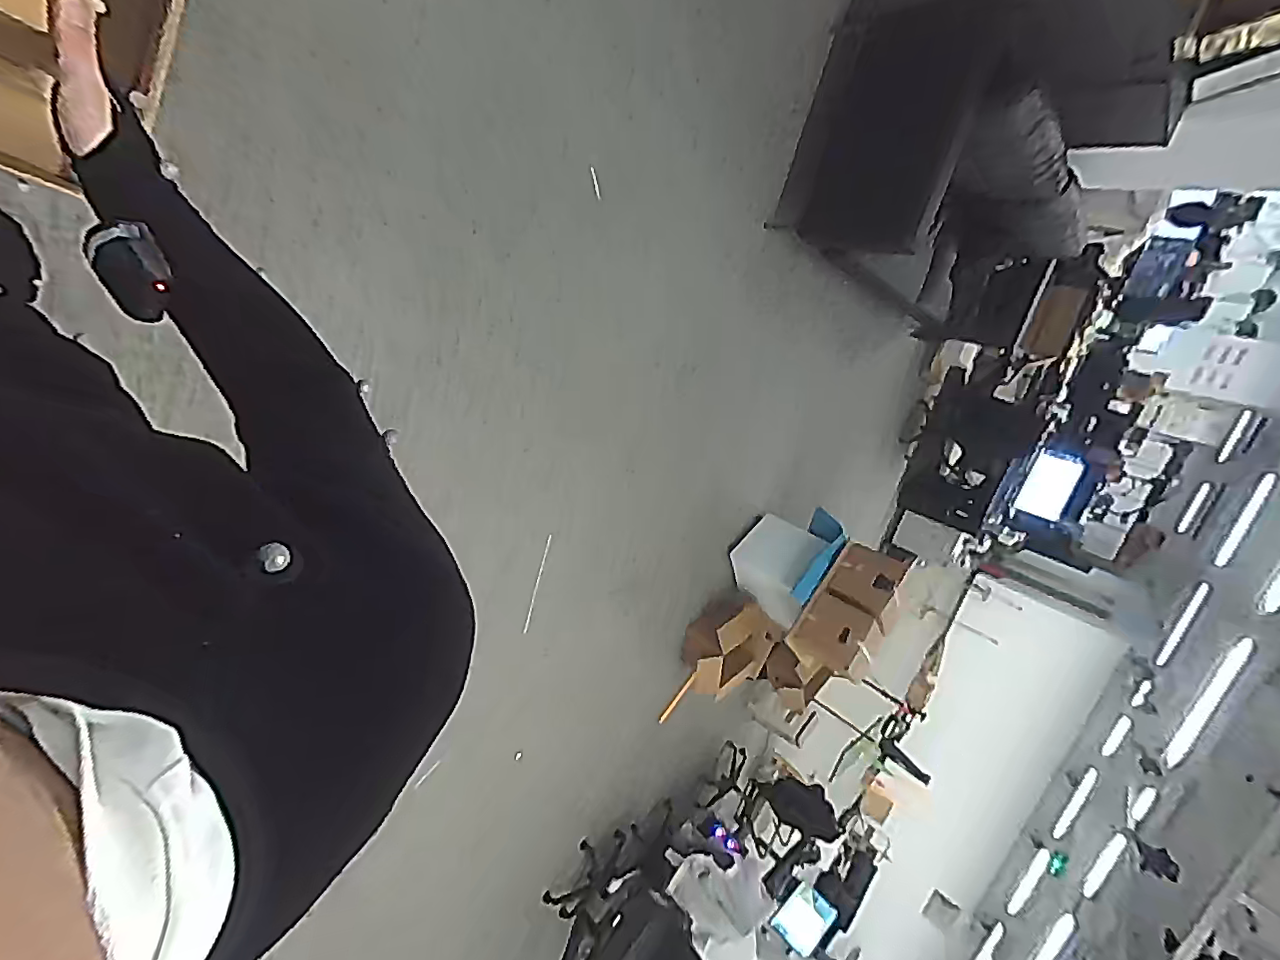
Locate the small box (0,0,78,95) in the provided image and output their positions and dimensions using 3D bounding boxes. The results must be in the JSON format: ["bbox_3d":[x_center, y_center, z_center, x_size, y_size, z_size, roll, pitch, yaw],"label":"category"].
[{"bbox_3d":[-0.641,-0.498,0.497,0.168,0.176,0.179,18,98,-50],"label":"small box"}]

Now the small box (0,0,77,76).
[{"bbox_3d":[-0.515,-0.438,0.386,0.168,0.176,0.179,8,102,-49],"label":"small box"}]

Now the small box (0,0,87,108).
[{"bbox_3d":[-0.750,-0.557,0.602,0.168,0.176,0.179,19,97,-51],"label":"small box"}]
